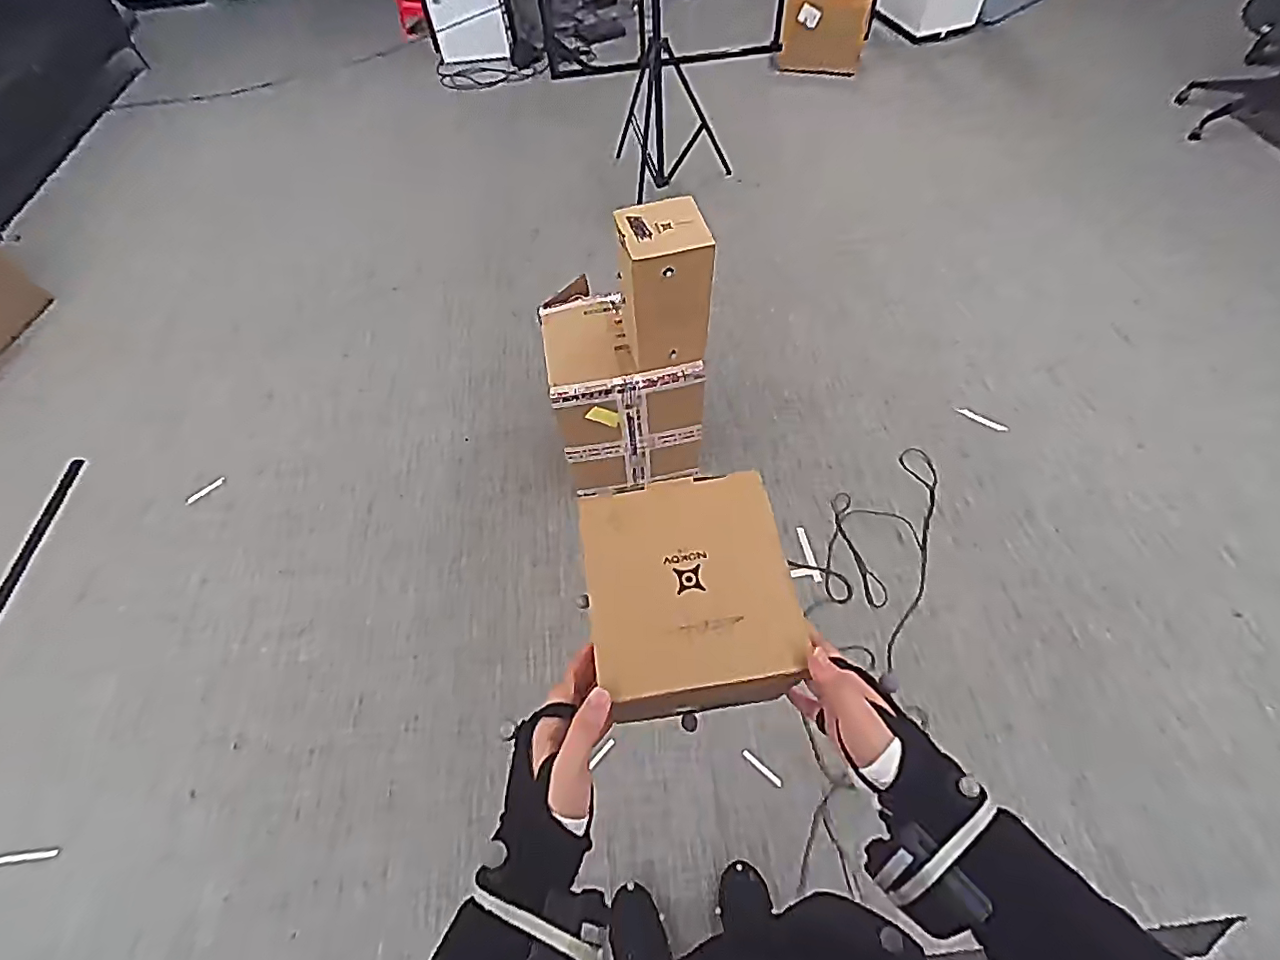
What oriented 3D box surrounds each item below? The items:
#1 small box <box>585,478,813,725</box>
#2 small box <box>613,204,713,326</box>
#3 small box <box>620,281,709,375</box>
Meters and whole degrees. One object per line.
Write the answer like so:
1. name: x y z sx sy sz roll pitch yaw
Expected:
1. small box: 0.042 0.122 0.518 0.168 0.176 0.179 -8 61 -2
2. small box: 0.048 -0.461 1.177 0.179 0.176 0.168 -14 61 -6
3. small box: 0.055 -0.385 1.324 0.179 0.176 0.168 -14 61 -6
